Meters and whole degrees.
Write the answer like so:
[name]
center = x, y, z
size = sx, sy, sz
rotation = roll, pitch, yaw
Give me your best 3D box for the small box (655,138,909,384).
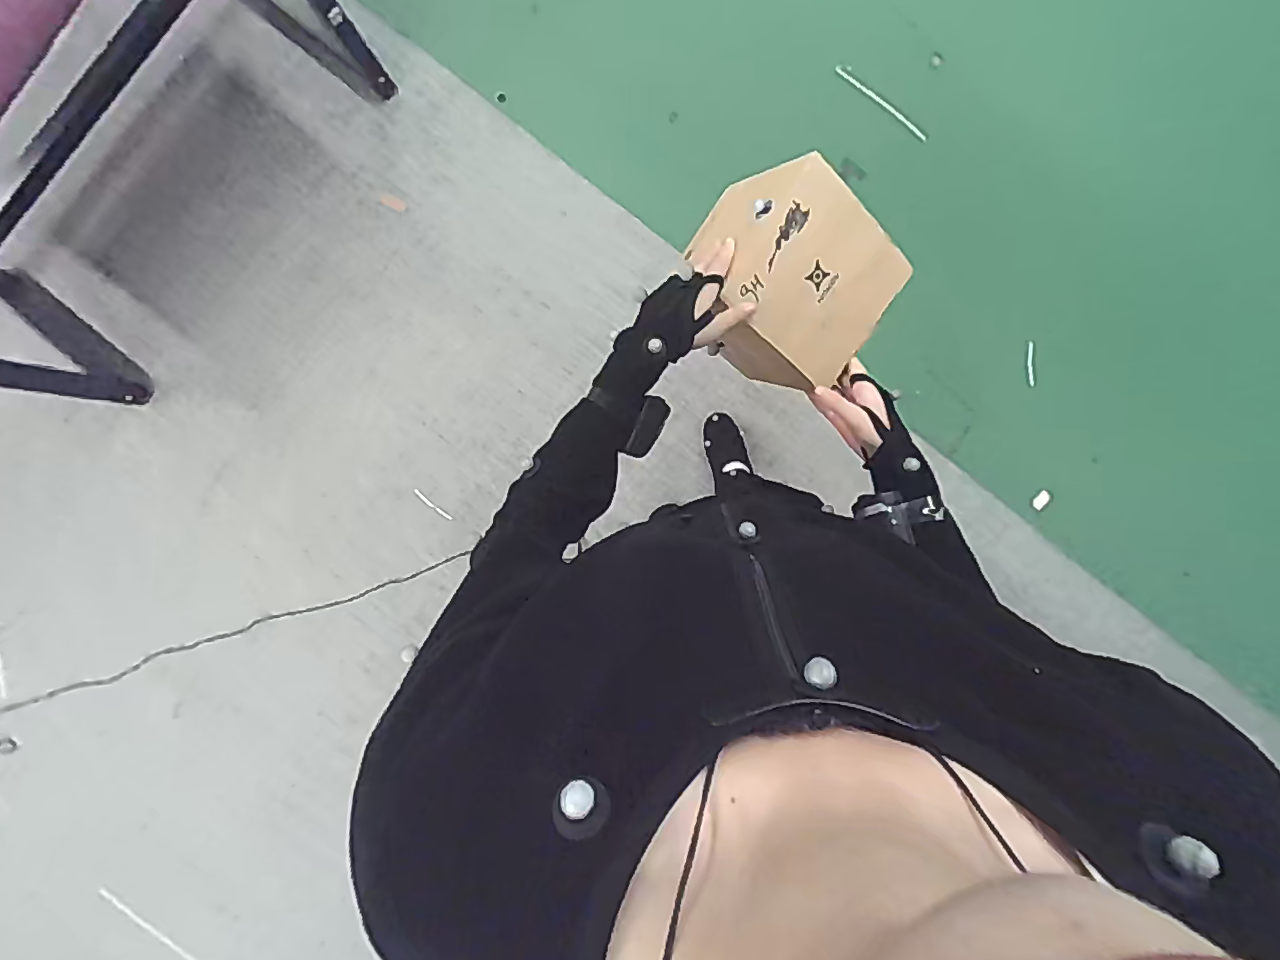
[small box]
center = 0.150, -0.233, 0.609
size = 0.179, 0.176, 0.168
rotation = 33, 93, -26
